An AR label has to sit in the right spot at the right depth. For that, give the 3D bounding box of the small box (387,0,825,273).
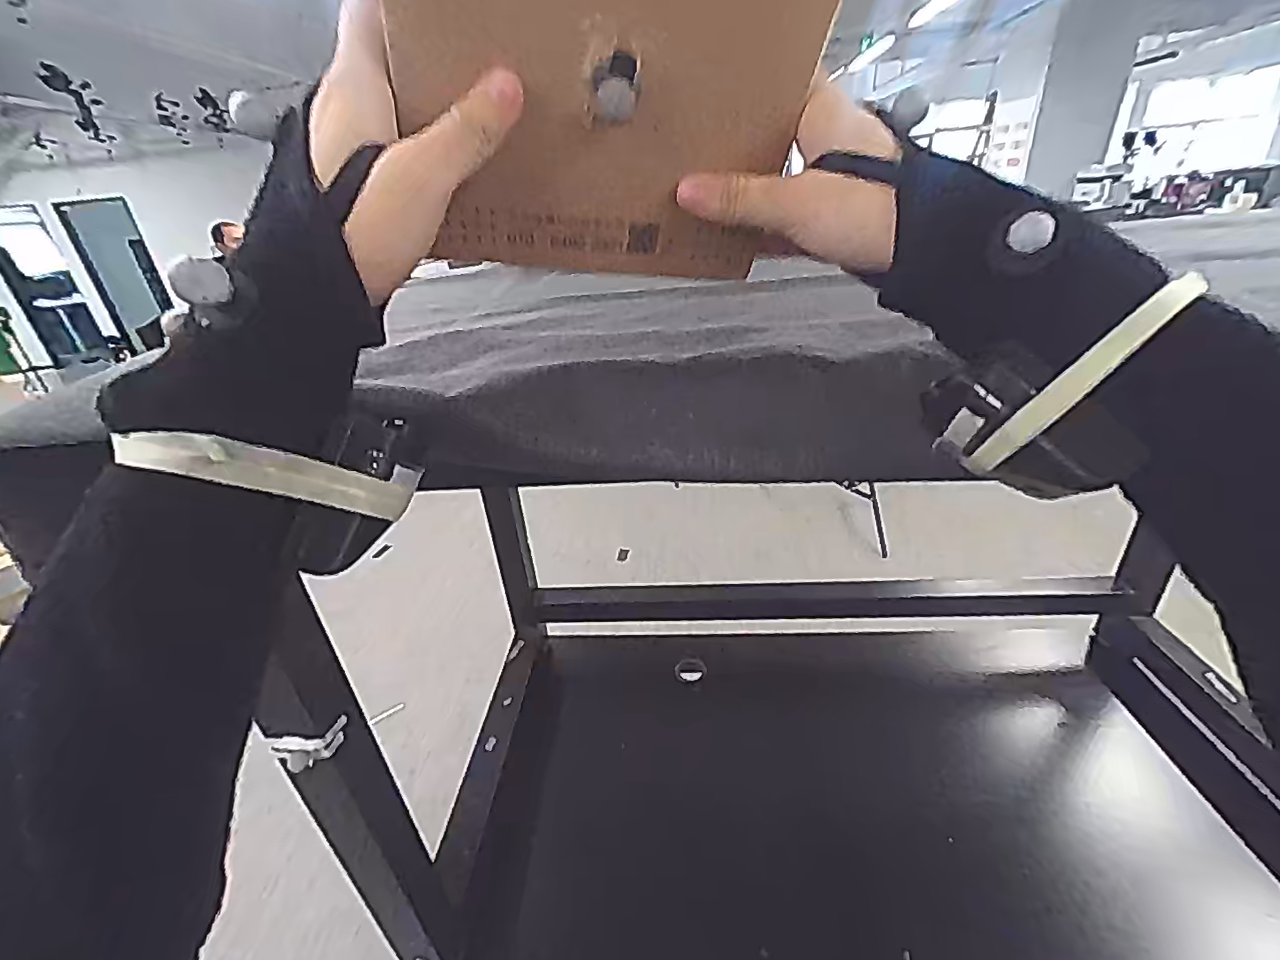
[{"bbox_3d":[-0.021,-0.221,0.261,0.168,0.176,0.179,0,49,-14],"label":"small box"}]
